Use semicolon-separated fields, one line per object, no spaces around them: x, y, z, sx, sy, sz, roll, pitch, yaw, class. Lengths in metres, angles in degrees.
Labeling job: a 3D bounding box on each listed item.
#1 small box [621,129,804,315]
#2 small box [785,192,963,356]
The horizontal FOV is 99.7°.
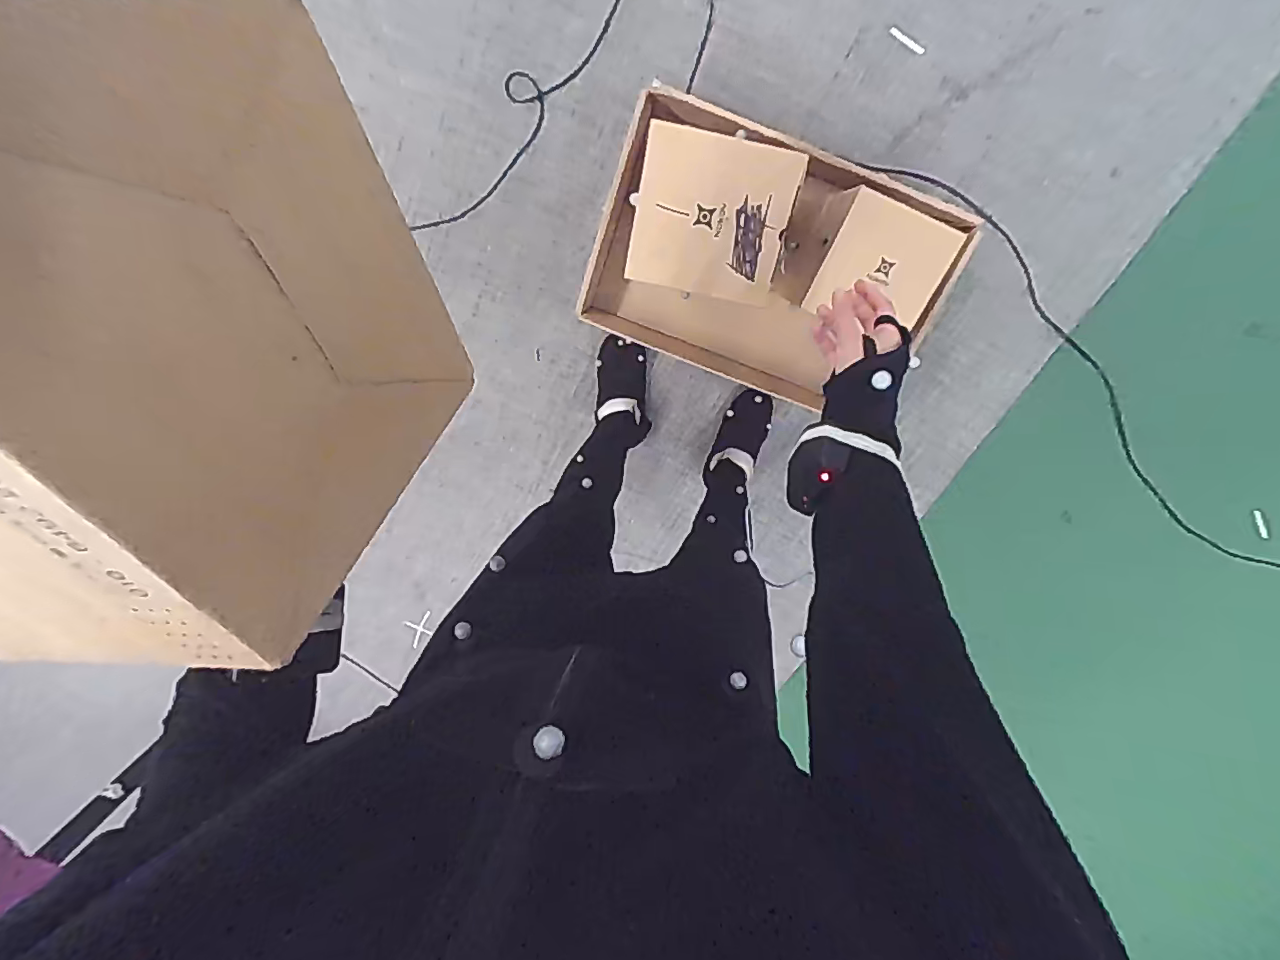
0.082;-0.321;0.685;0.179;0.176;0.168;12;115;-2;small box
0.344;-0.319;0.841;0.168;0.176;0.179;23;114;-5;small box
